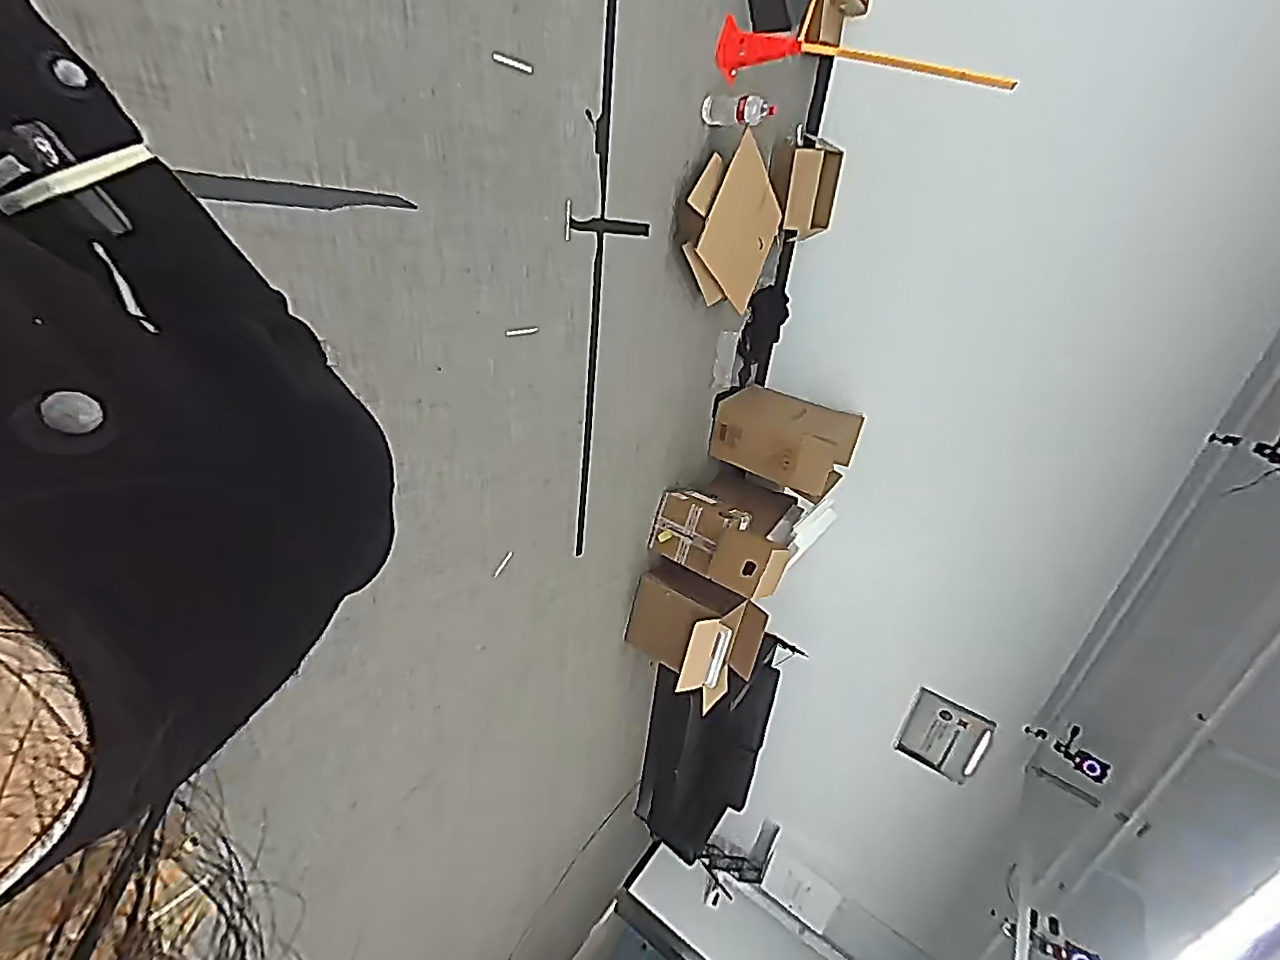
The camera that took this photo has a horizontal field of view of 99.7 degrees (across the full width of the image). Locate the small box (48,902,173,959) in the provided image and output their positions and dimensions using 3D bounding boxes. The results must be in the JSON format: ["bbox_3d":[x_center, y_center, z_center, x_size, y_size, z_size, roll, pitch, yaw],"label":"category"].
[{"bbox_3d":[-1.150,1.082,1.175,0.179,0.176,0.168,-28,131,-47],"label":"small box"}]
